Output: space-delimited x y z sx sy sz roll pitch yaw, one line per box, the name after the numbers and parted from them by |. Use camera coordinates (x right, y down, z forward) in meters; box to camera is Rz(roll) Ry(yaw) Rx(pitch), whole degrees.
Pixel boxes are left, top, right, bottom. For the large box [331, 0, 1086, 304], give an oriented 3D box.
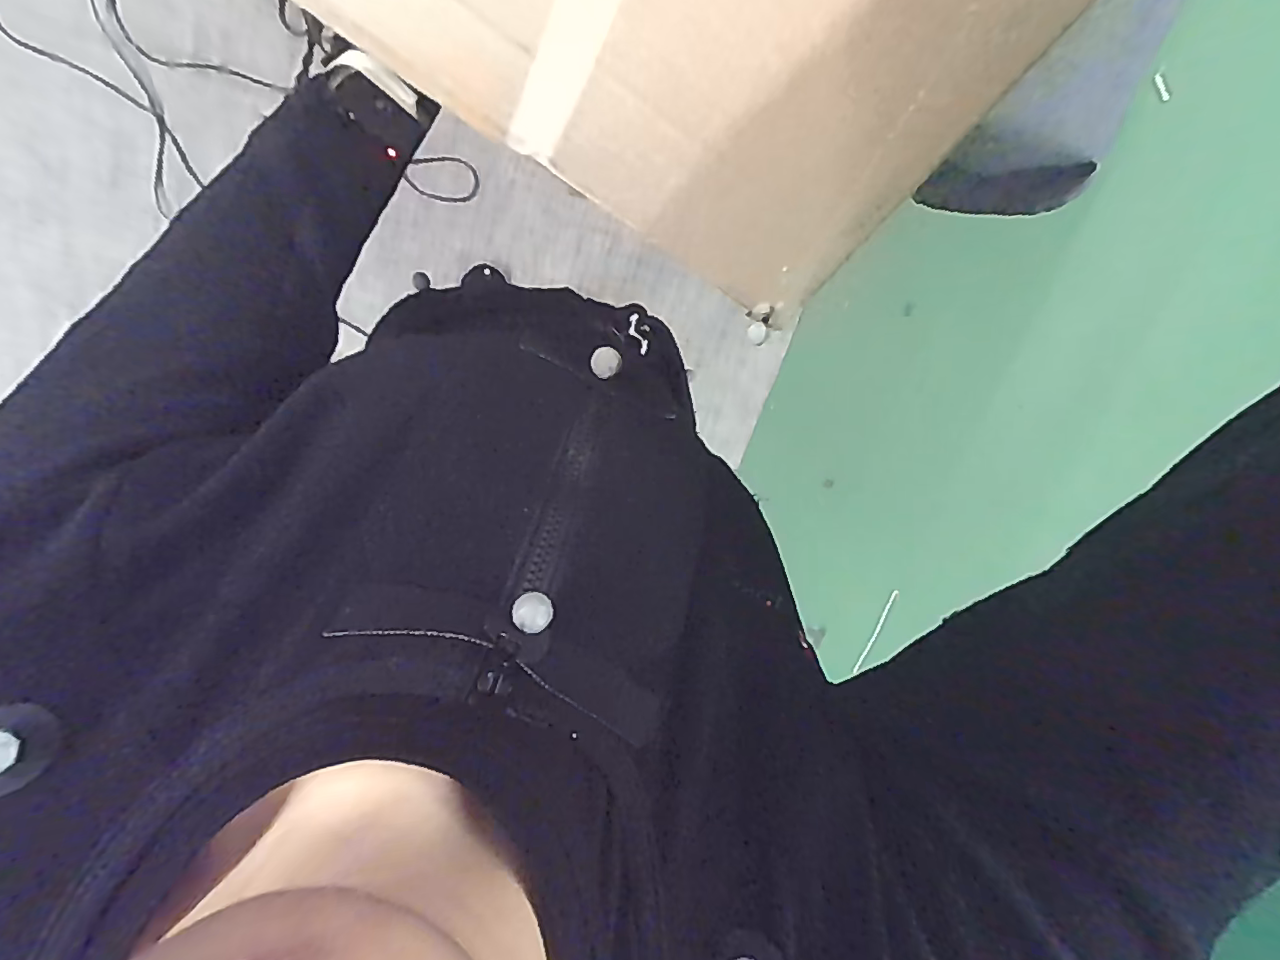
0.082 -0.382 0.243 0.320 0.320 0.408 27 135 -17 | large box
